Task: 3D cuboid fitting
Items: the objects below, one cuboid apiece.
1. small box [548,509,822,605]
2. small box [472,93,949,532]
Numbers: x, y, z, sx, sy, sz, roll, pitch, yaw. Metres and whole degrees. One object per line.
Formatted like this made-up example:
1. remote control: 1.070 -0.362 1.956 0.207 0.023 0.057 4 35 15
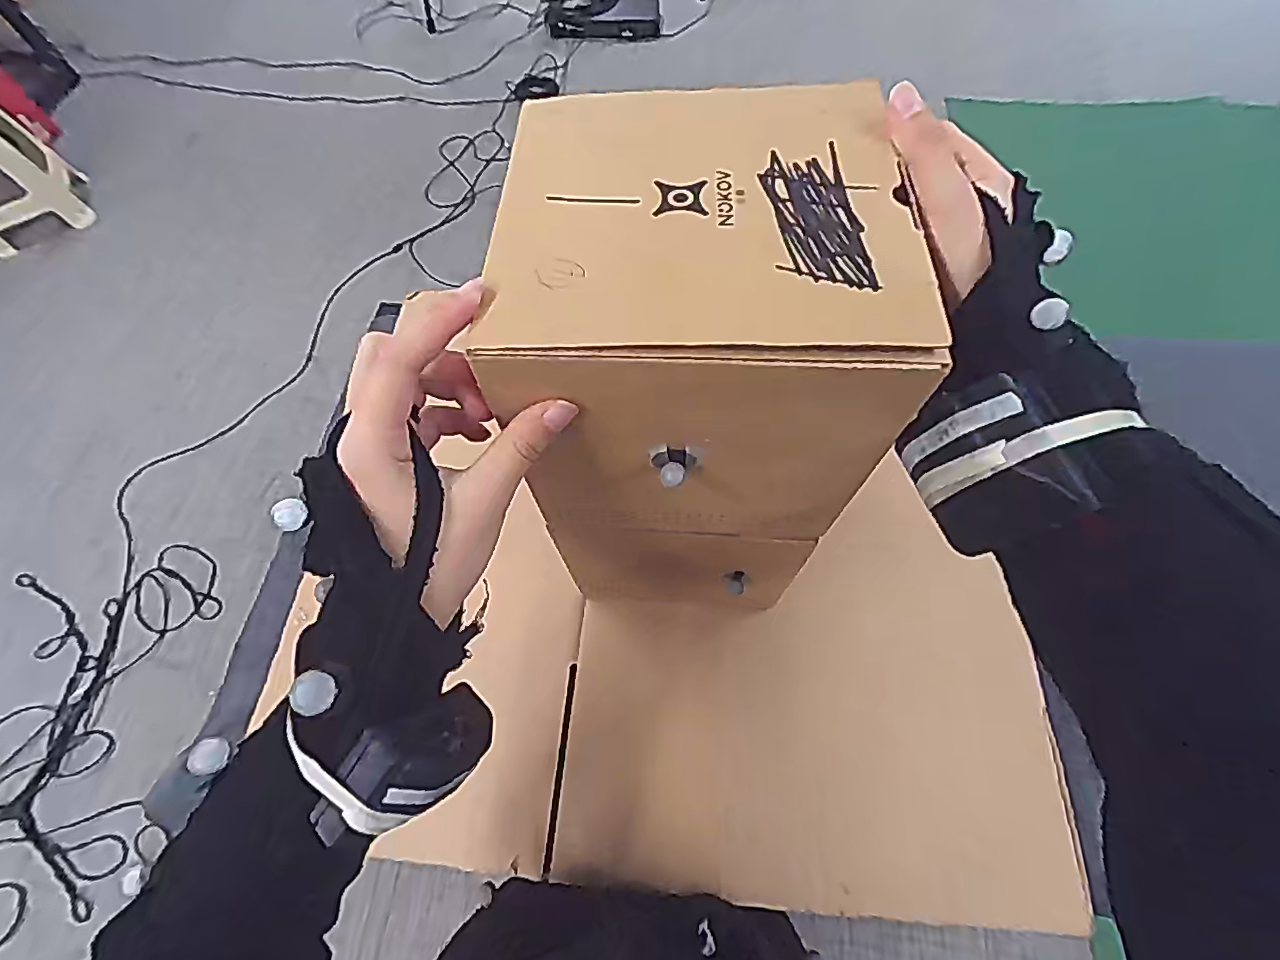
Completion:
1. small box: 0.036 0.000 0.447 0.179 0.176 0.168 2 62 5
2. small box: 0.031 -0.077 0.301 0.179 0.176 0.168 1 63 4
